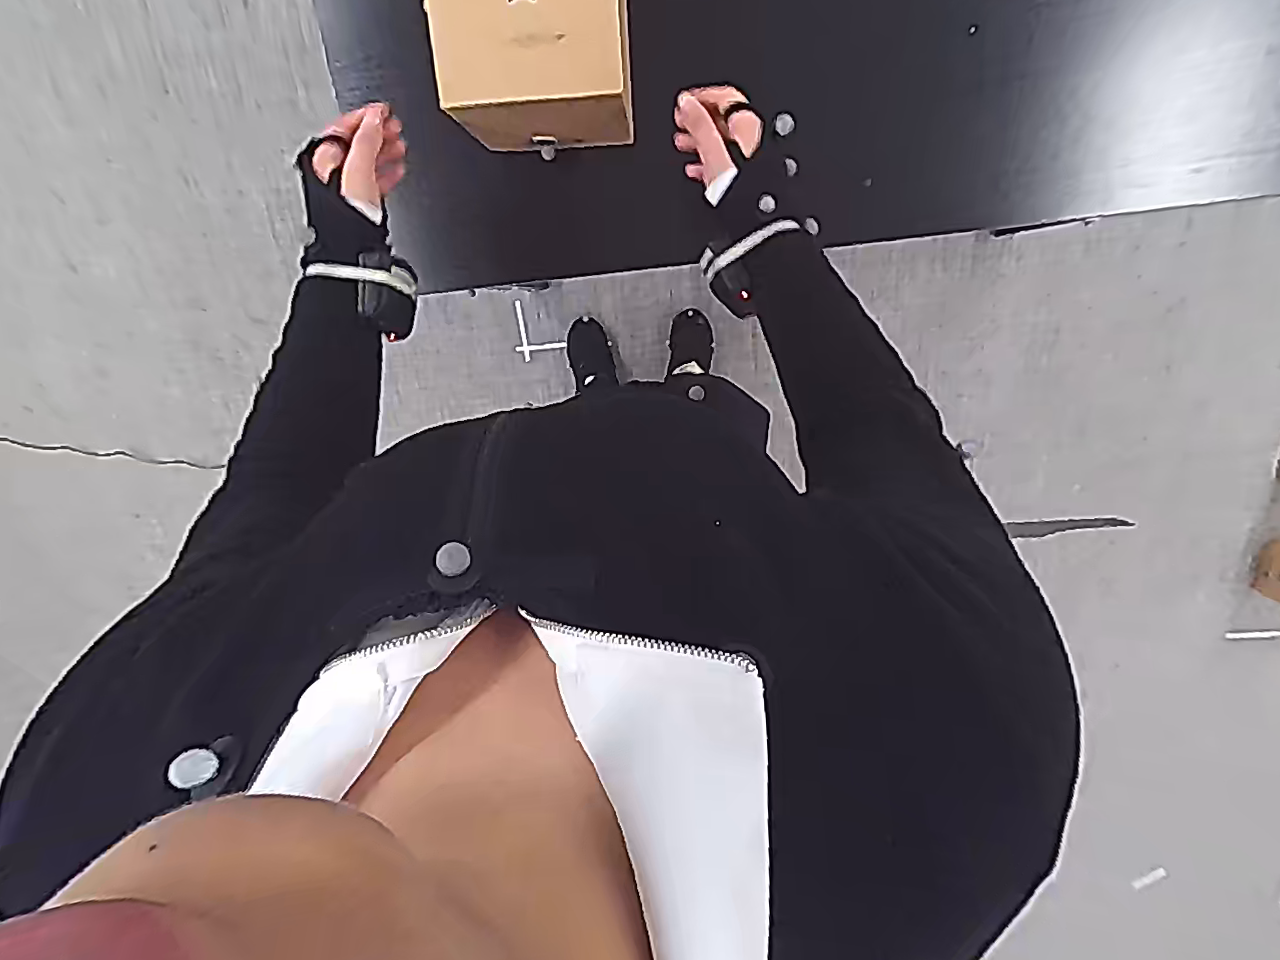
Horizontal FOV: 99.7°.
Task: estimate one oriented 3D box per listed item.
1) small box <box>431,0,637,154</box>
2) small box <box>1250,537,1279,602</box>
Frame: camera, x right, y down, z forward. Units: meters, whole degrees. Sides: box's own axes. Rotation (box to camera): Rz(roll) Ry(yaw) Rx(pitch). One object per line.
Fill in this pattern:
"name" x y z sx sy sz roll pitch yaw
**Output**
"small box" -0.092 -0.439 0.522 0.168 0.176 0.179 -2 109 4
"small box" 1.832 0.259 1.455 0.179 0.176 0.168 -3 109 4
